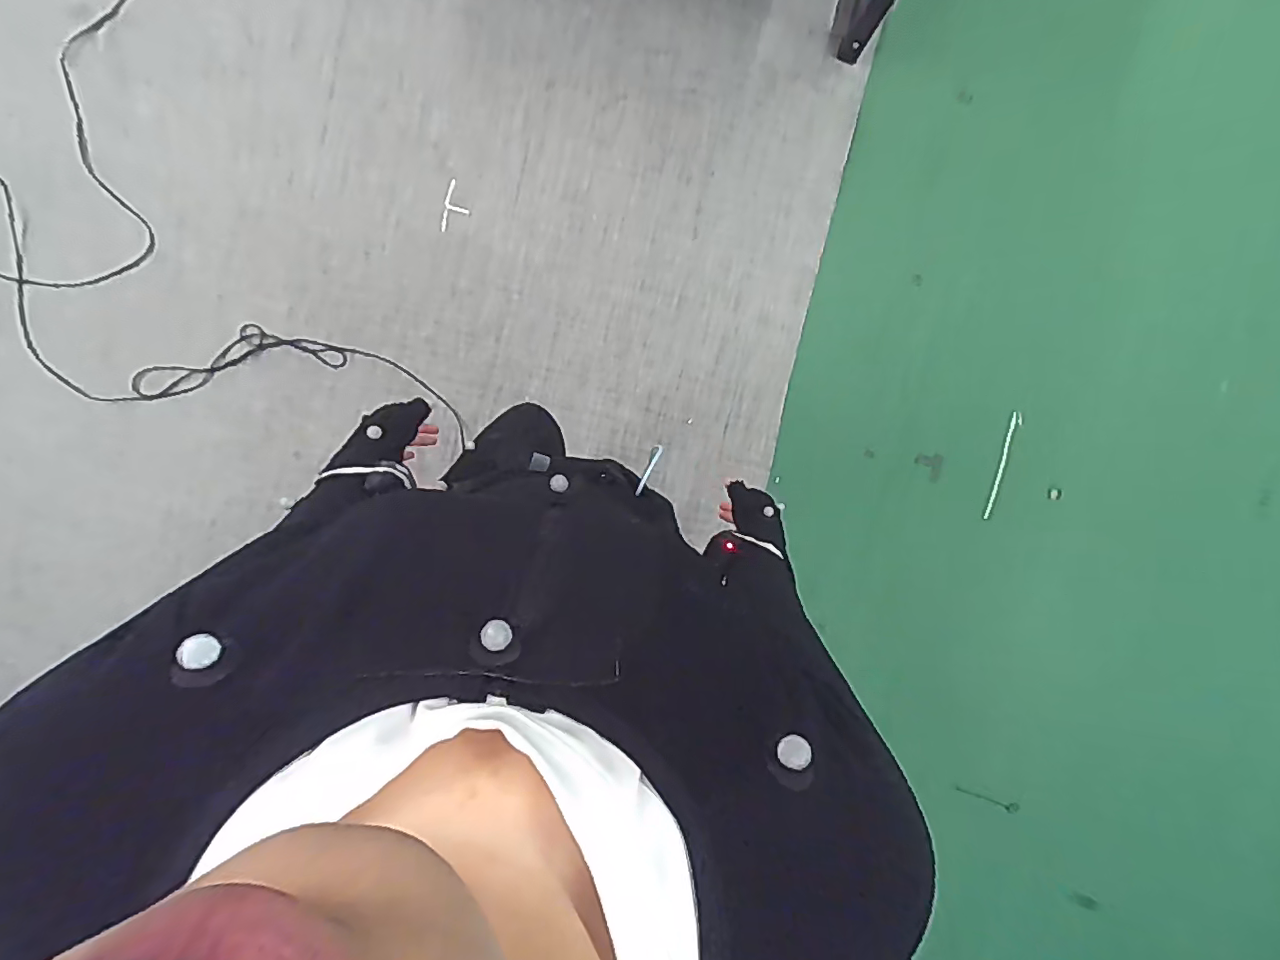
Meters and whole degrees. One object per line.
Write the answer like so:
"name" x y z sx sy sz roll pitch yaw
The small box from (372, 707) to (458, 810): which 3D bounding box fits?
"small box" -0.573 0.707 1.362 0.168 0.176 0.179 13 94 -4
